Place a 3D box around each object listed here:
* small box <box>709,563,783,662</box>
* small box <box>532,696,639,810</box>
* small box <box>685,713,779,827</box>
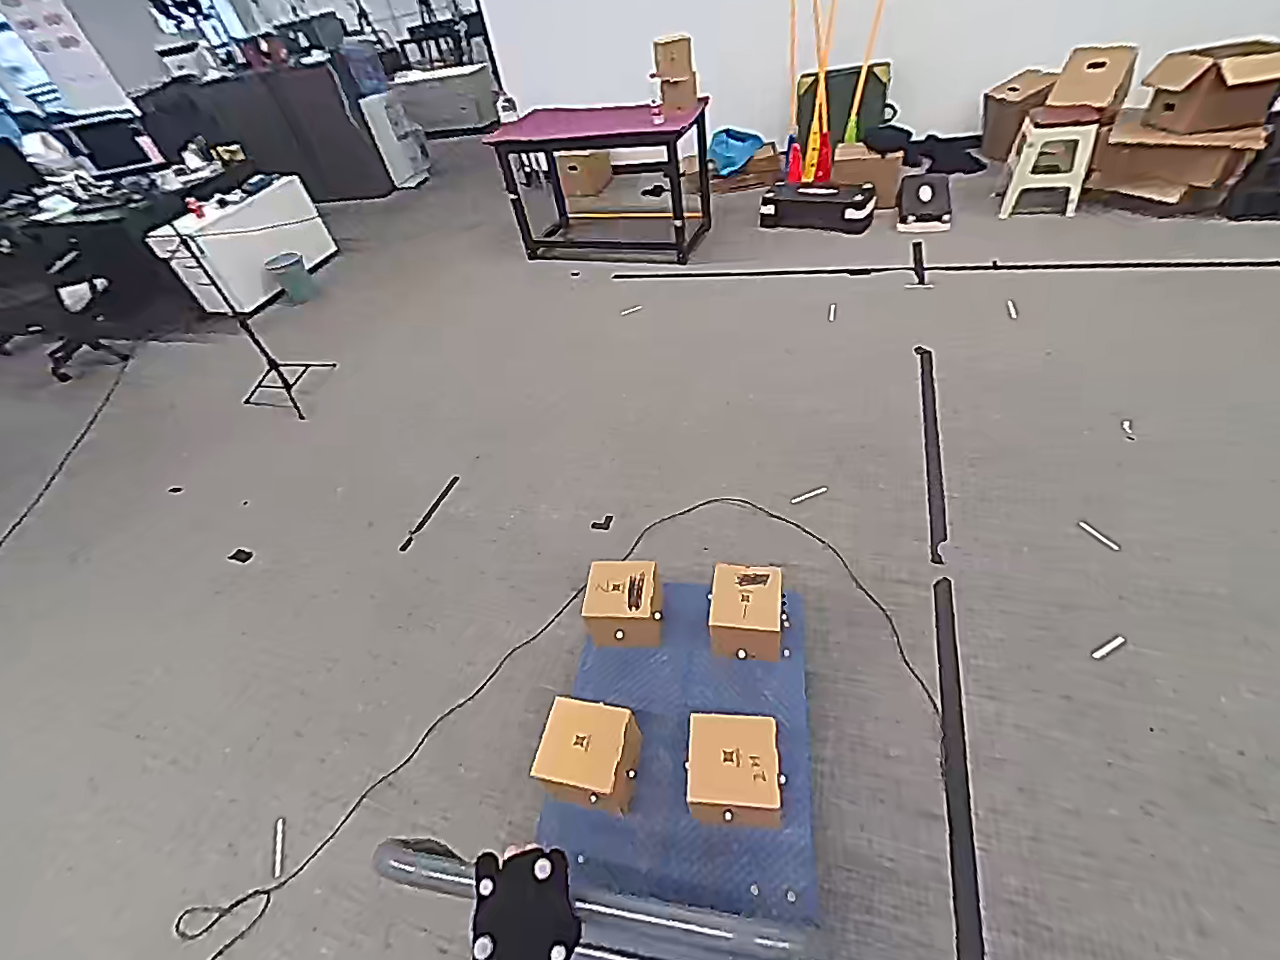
[{"bbox_3d":[0.268,0.333,1.361,0.168,0.176,0.179,2,48,14],"label":"small box"},{"bbox_3d":[-0.110,0.598,1.183,0.179,0.176,0.168,4,47,14],"label":"small box"},{"bbox_3d":[0.193,0.599,1.116,0.179,0.176,0.168,-1,46,11],"label":"small box"}]
